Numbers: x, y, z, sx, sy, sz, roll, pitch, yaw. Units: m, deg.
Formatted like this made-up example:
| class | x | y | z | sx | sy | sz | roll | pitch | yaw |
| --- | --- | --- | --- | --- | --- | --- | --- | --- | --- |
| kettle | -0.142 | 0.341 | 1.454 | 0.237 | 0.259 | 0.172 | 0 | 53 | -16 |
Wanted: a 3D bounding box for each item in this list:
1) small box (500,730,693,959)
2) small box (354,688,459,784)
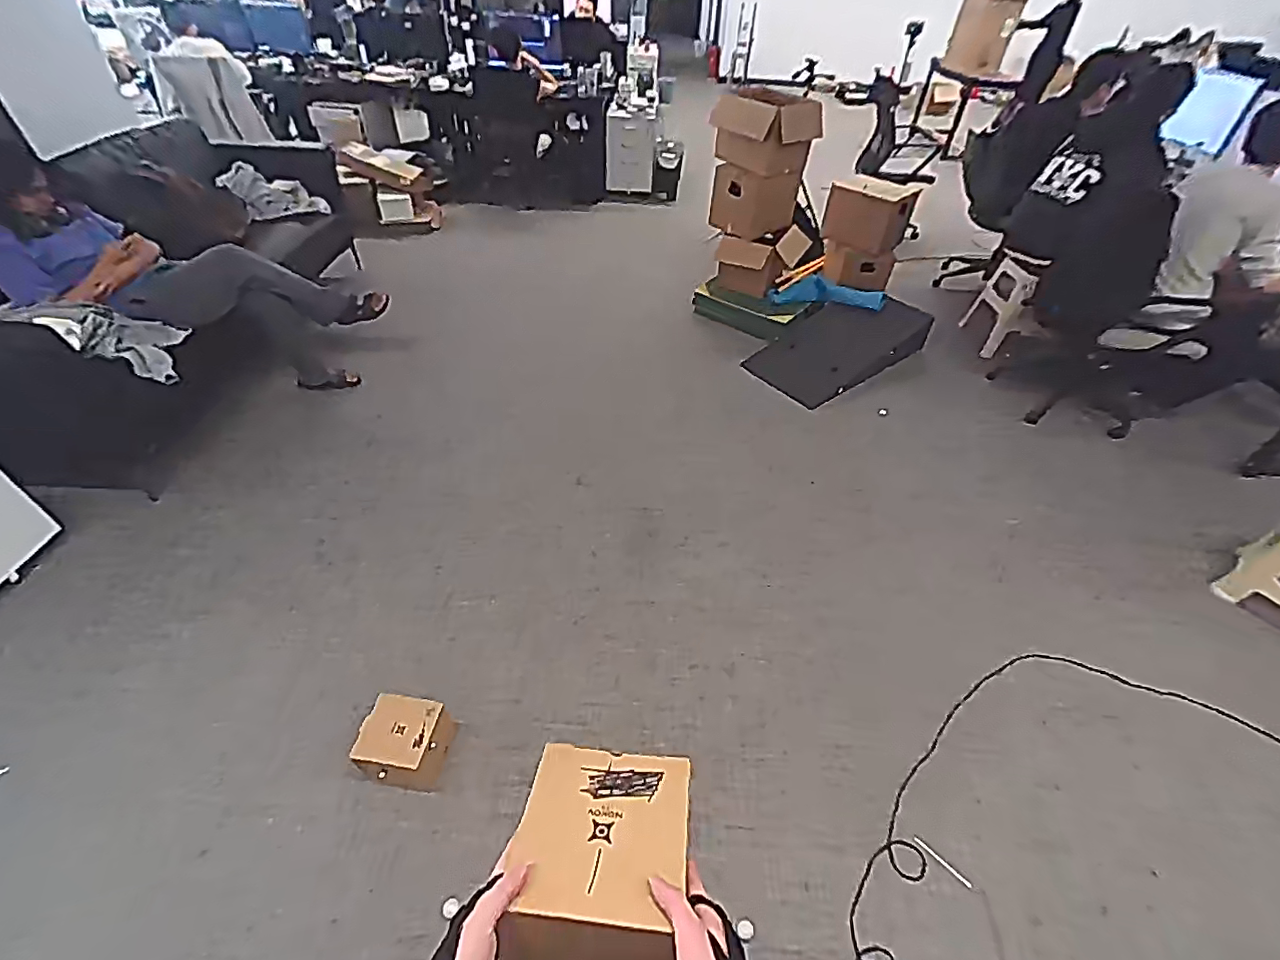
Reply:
| class | x | y | z | sx | sy | sz | roll | pitch | yaw |
| --- | --- | --- | --- | --- | --- | --- | --- | --- | --- |
| small box | -0.034 | 0.401 | 0.568 | 0.168 | 0.176 | 0.179 | 3 | 23 | 6 |
| small box | -0.598 | 0.668 | 1.409 | 0.179 | 0.176 | 0.168 | 7 | 43 | 5 |
